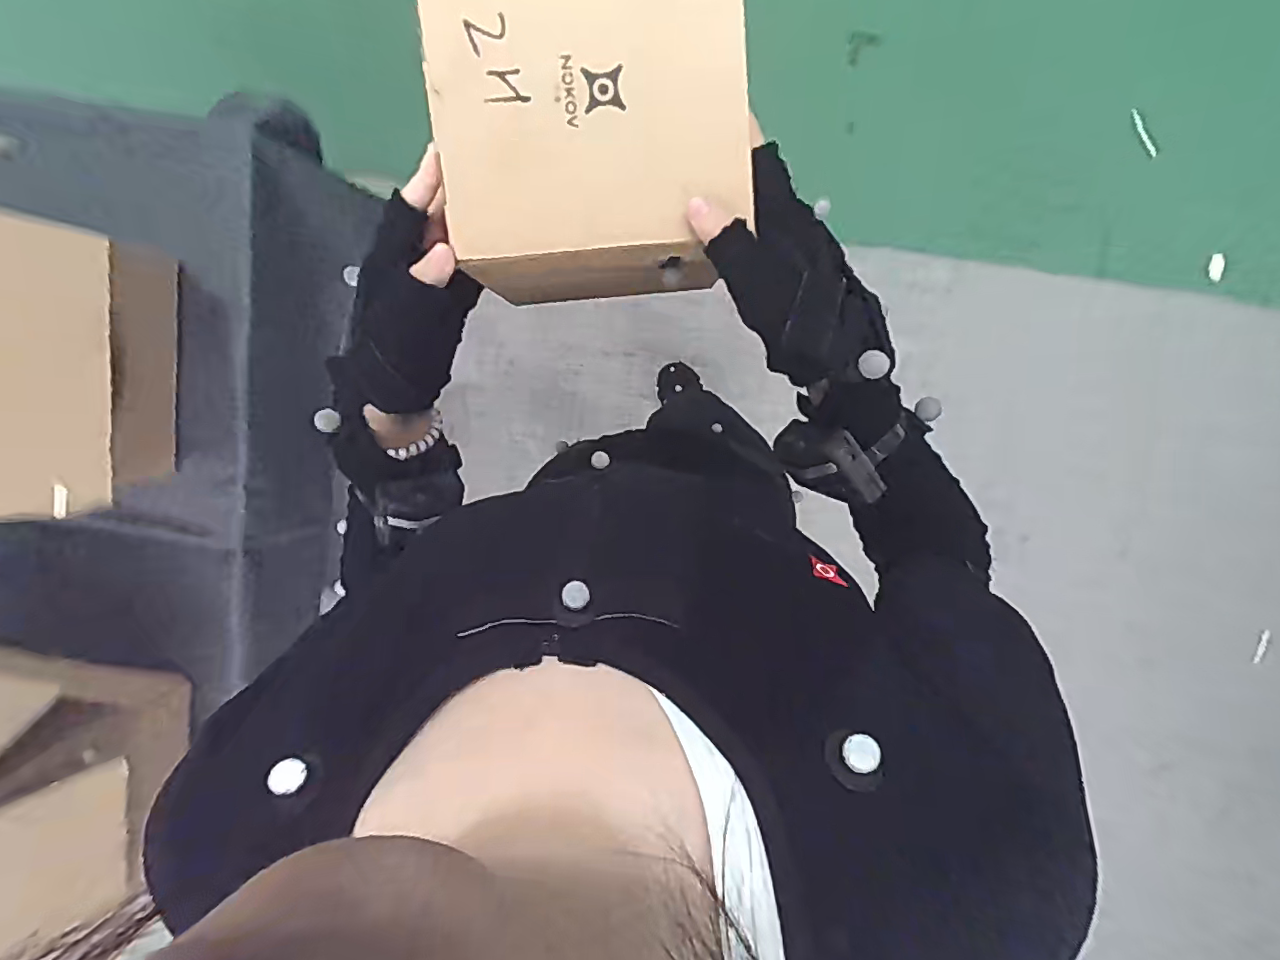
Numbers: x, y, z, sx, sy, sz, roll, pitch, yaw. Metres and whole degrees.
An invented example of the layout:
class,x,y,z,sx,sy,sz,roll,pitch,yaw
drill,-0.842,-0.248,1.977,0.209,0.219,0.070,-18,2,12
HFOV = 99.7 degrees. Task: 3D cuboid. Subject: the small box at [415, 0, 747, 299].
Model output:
class,x,y,z,sx,sy,sz,roll,pitch,yaw
small box,-0.034,-0.229,0.378,0.179,0.176,0.168,-6,99,-1
